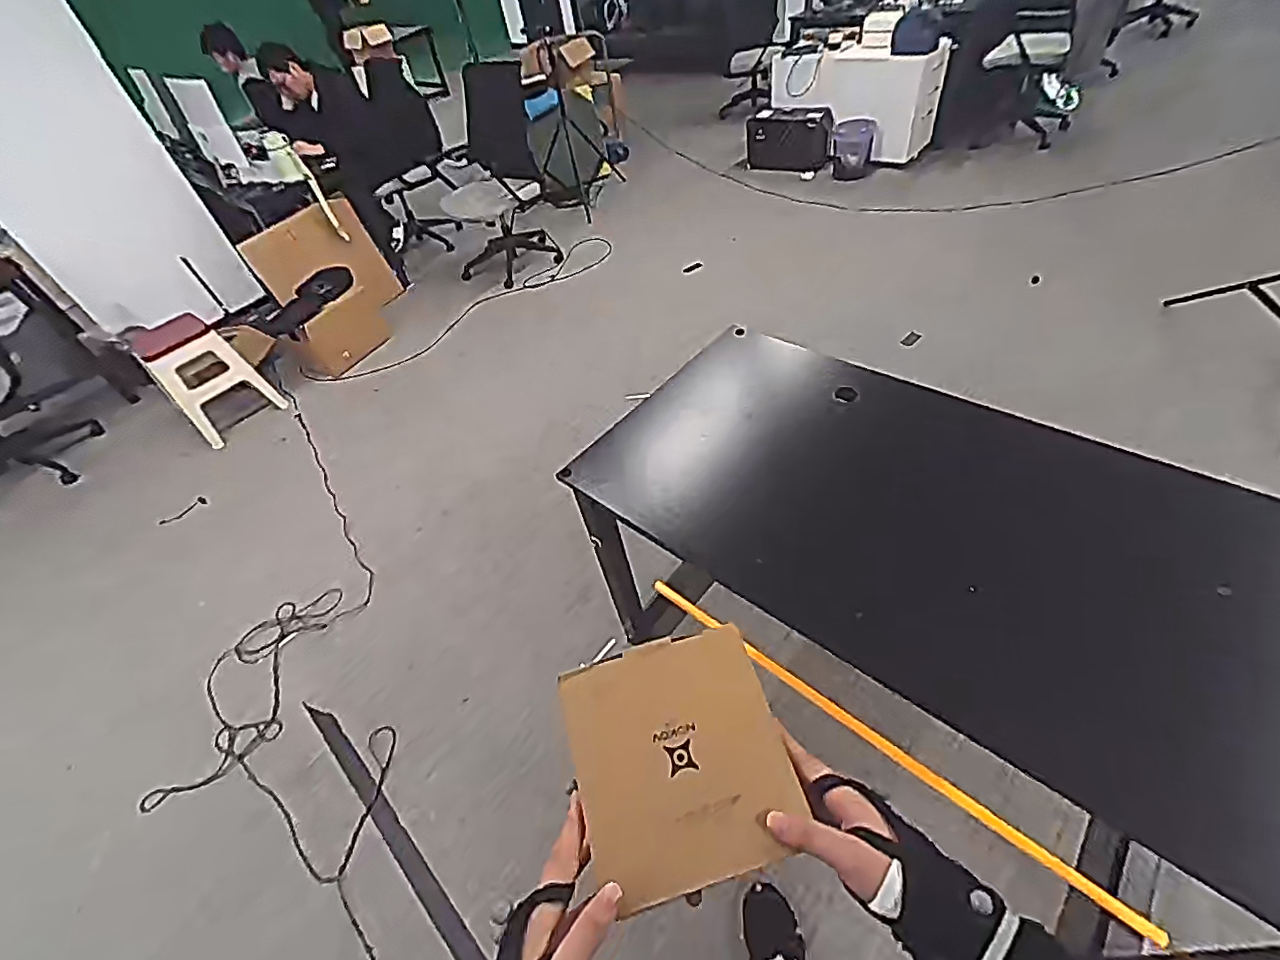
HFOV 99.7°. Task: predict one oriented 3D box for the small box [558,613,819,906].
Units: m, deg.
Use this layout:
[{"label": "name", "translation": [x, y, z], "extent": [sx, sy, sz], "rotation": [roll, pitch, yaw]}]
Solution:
[{"label": "small box", "translation": [0.029, 0.248, 0.488], "extent": [0.168, 0.176, 0.179], "rotation": [-14, 58, -8]}]
